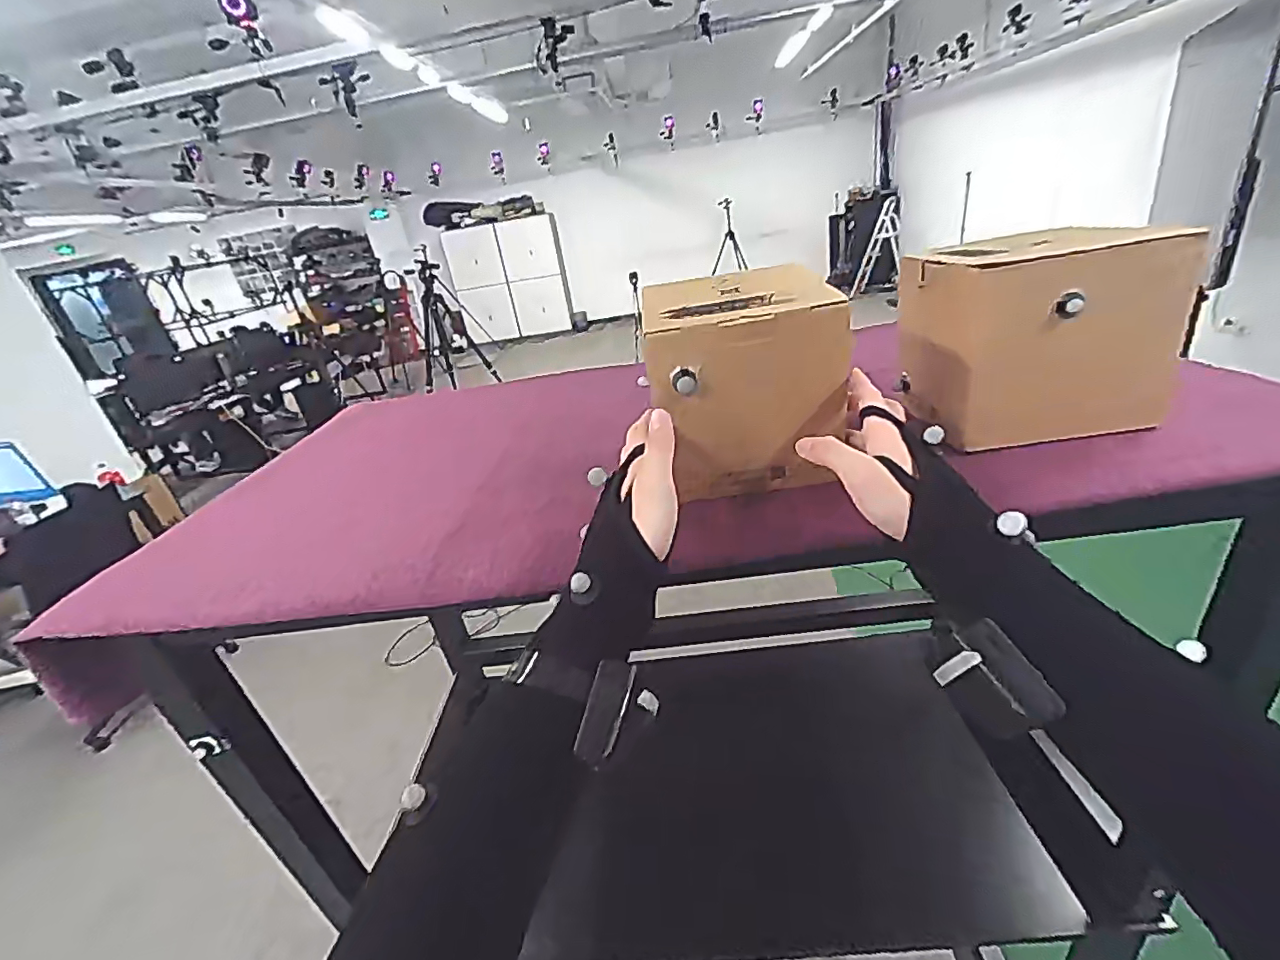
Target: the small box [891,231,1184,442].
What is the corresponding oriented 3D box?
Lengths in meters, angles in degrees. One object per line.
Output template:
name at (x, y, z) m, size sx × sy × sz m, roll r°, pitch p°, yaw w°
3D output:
small box at (0.374, -0.147, 0.549) m, size 0.179 × 0.176 × 0.168 m, roll -7°, pitch 26°, yaw 5°
